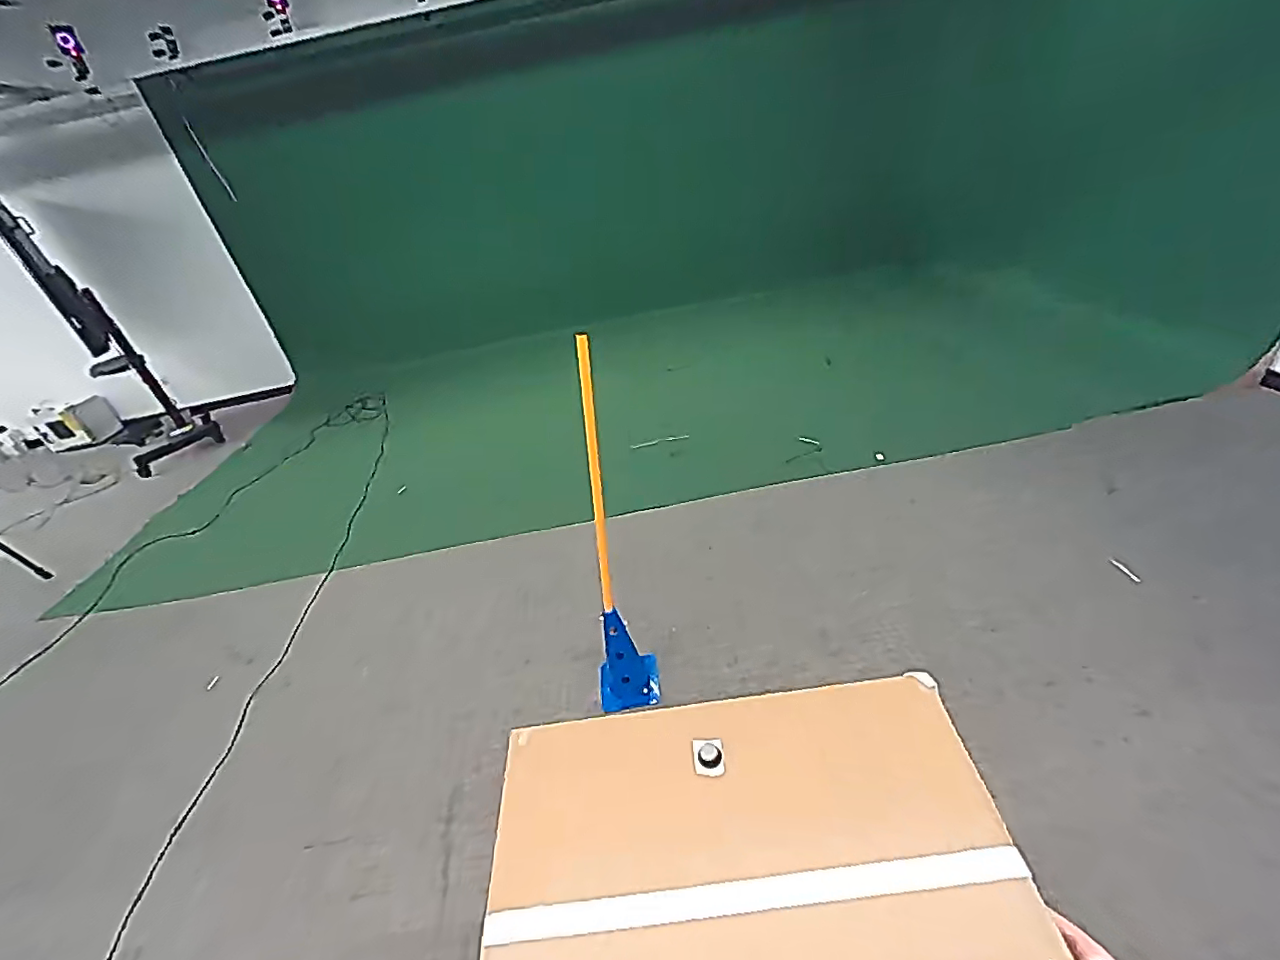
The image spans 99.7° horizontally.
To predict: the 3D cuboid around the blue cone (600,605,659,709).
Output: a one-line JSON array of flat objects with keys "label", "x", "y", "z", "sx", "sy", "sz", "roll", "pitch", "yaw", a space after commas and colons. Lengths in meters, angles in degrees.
[{"label": "blue cone", "x": -0.064, "y": 0.538, "z": 1.735, "sx": 0.193, "sy": 0.380, "sz": 0.192, "roll": -11, "pitch": 32, "yaw": -1}]
